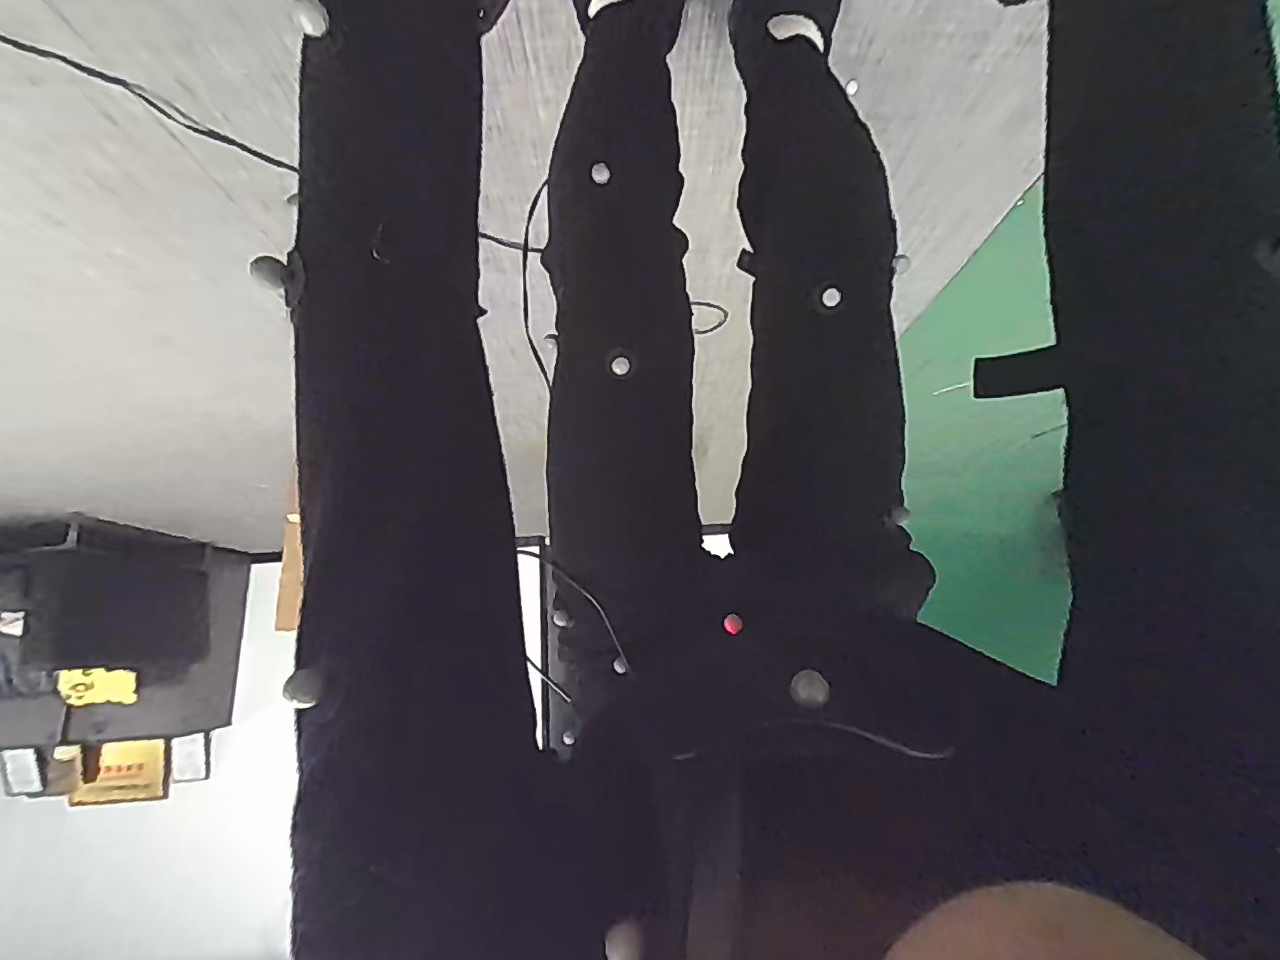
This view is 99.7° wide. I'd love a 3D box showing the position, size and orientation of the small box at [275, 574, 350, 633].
[{"bbox_3d":[-1.020,0.389,1.697,0.168,0.176,0.179,2,163,-19],"label":"small box"}]
